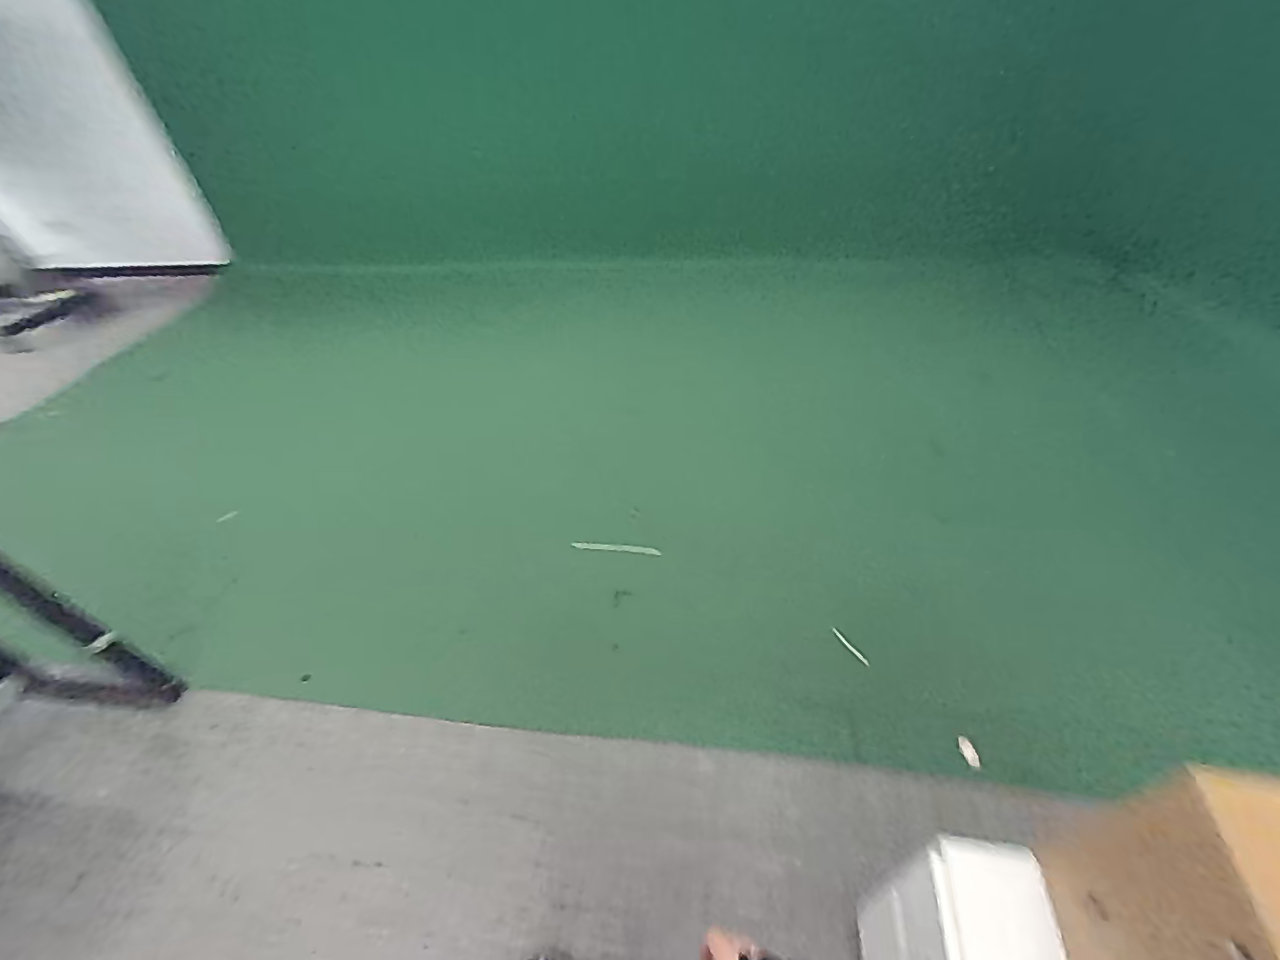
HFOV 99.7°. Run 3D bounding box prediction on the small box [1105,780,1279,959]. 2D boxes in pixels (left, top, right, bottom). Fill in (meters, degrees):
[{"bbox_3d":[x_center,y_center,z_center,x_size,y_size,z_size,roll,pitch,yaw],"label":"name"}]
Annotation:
[{"bbox_3d":[0.583,0.407,0.492,0.168,0.176,0.179,6,46,10],"label":"small box"}]
